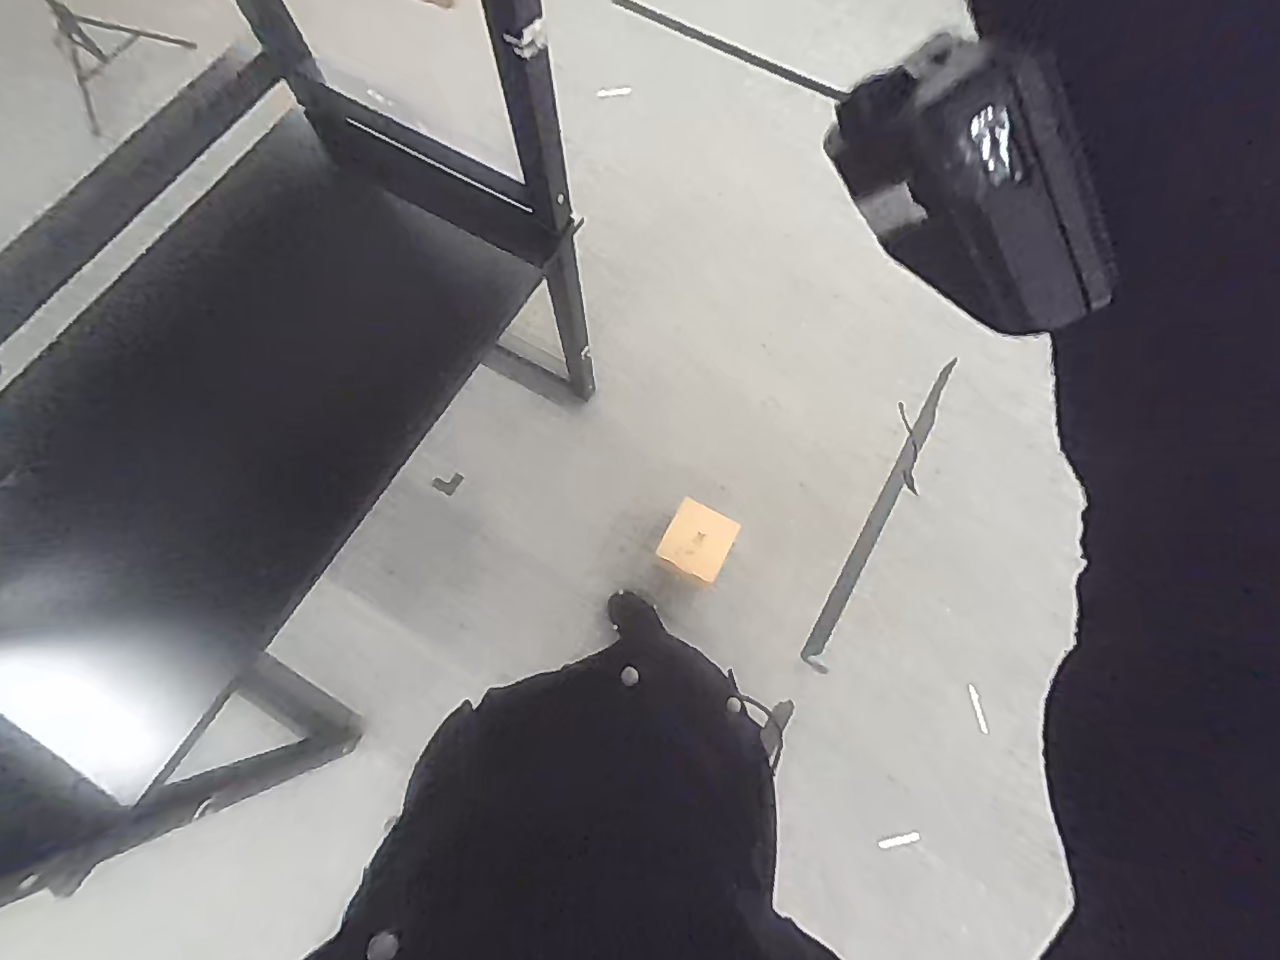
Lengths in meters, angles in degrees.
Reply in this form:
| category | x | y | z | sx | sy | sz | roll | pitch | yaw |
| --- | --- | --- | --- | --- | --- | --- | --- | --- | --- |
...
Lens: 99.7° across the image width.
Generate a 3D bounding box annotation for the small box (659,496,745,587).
| category | x | y | z | sx | sy | sz | roll | pitch | yaw |
| --- | --- | --- | --- | --- | --- | --- | --- | --- | --- |
| small box | 0.158 | 0.171 | 1.458 | 0.168 | 0.176 | 0.179 | 28 | 76 | 7 |
